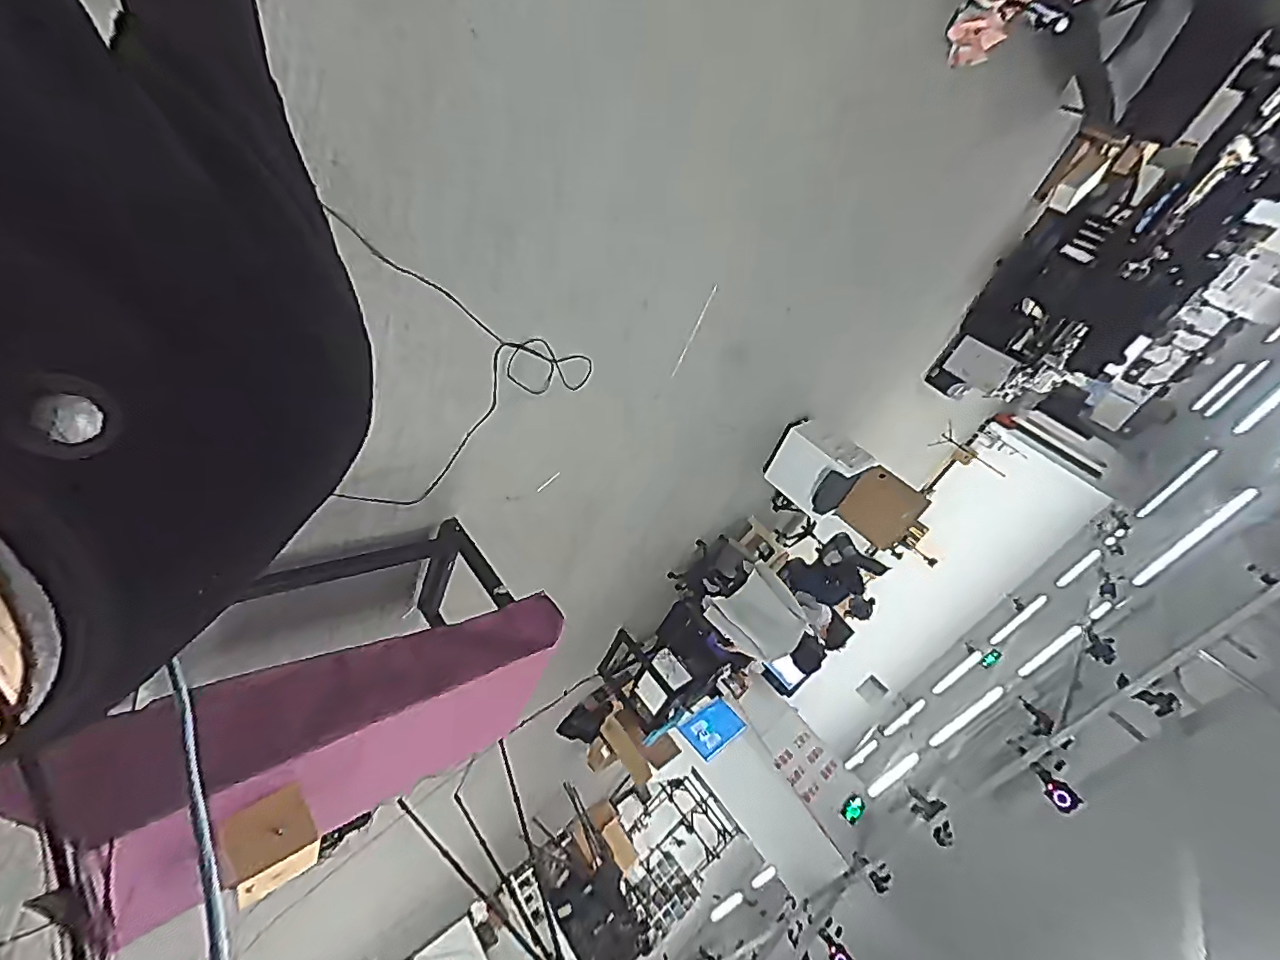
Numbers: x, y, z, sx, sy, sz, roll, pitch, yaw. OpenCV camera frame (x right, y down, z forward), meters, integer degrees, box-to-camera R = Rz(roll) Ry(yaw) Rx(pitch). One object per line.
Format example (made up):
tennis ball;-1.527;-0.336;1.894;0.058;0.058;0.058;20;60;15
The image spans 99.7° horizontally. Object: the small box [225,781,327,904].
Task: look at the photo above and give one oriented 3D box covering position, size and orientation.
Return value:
small box;-0.929;0.916;1.380;0.179;0.176;0.168;-14;139;-45
